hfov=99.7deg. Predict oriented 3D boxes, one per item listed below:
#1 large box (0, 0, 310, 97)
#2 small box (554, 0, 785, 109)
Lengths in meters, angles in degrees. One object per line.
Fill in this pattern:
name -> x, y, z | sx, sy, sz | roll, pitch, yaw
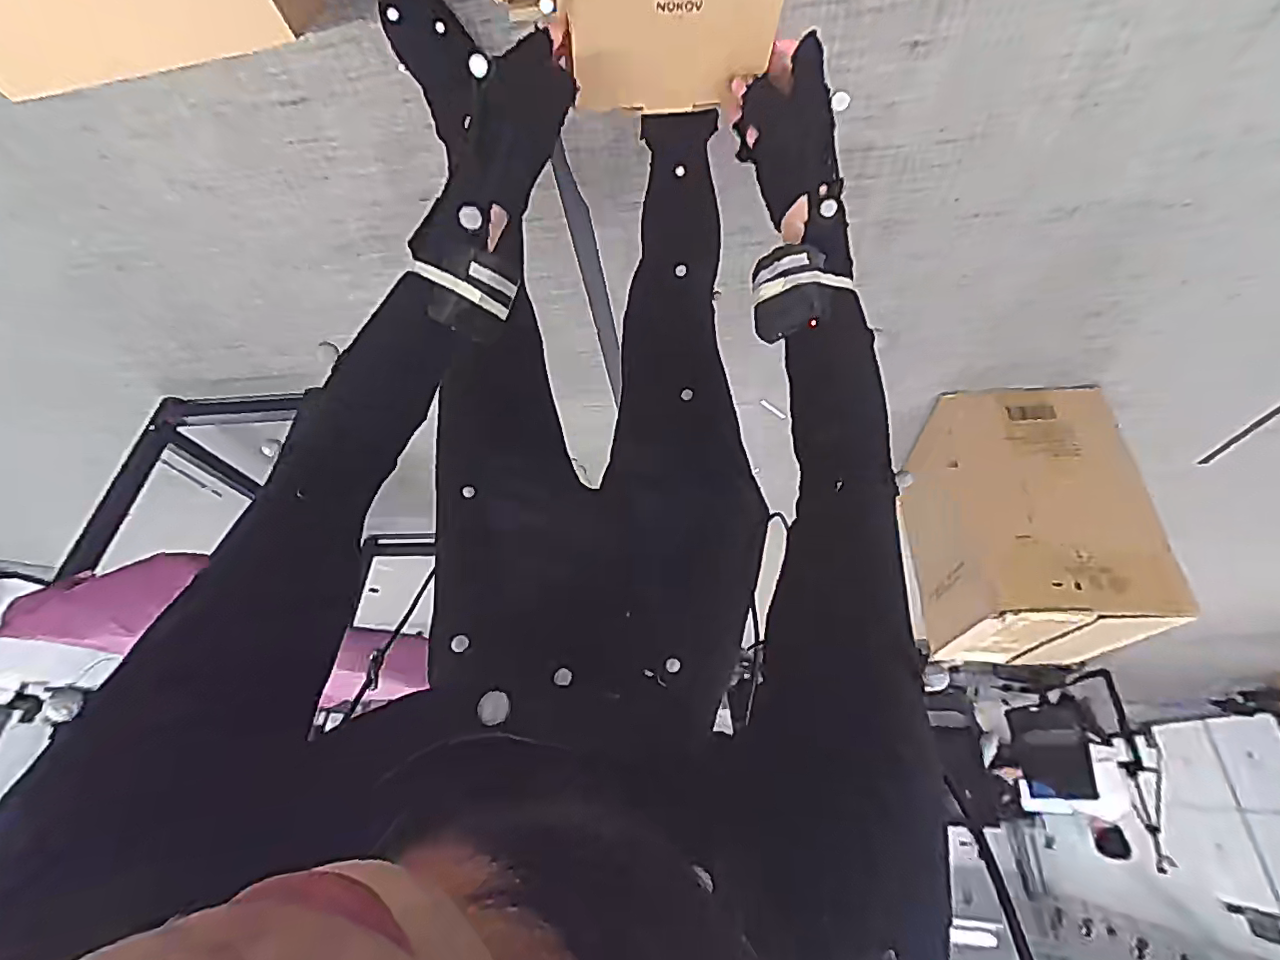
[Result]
large box -> -0.580, -0.675, 0.557 | 0.408, 0.320, 0.320 | -3, 151, 11
small box -> 0.016, -0.428, 0.417 | 0.168, 0.176, 0.179 | -9, 154, -8
